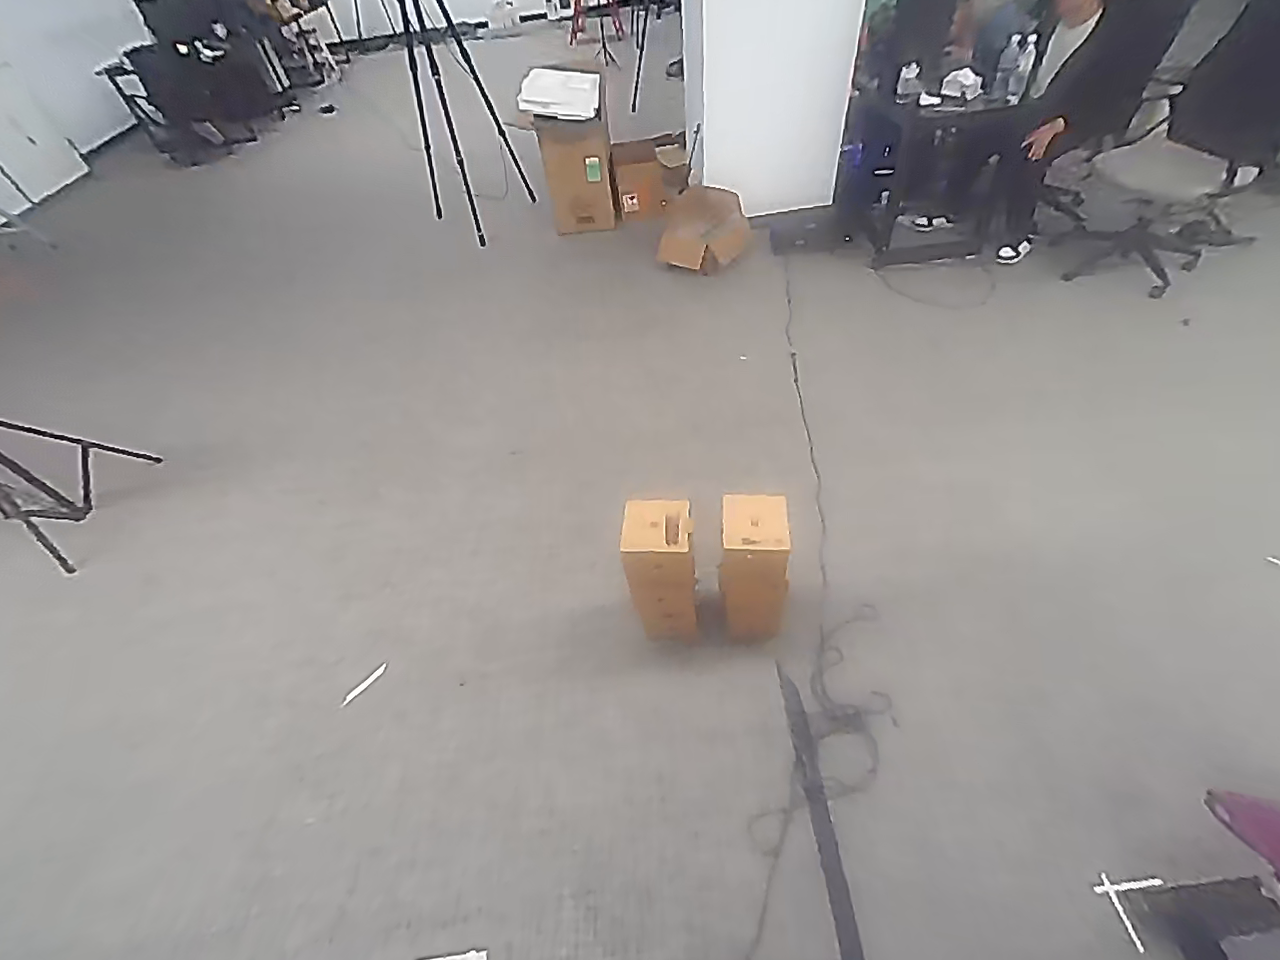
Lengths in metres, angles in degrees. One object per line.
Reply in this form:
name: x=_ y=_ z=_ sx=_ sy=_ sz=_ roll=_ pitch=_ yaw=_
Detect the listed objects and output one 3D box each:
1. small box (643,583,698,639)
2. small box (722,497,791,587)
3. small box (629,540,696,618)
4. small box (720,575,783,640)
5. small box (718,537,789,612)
small box: x=0.095 y=0.386 z=1.708 sx=0.168 sy=0.176 sz=0.179 roll=-3 pitch=49 yaw=6
small box: x=0.304 y=0.165 z=1.440 sx=0.168 sy=0.176 sz=0.179 roll=0 pitch=48 yaw=8
small box: x=0.072 y=0.291 z=1.576 sx=0.179 sy=0.176 sz=0.168 roll=-1 pitch=49 yaw=9
small box: x=0.340 y=0.377 z=1.686 sx=0.168 sy=0.176 sz=0.179 roll=-7 pitch=49 yaw=3
small box: x=0.323 y=0.271 z=1.564 sx=0.179 sy=0.176 sz=0.168 roll=-5 pitch=48 yaw=4
